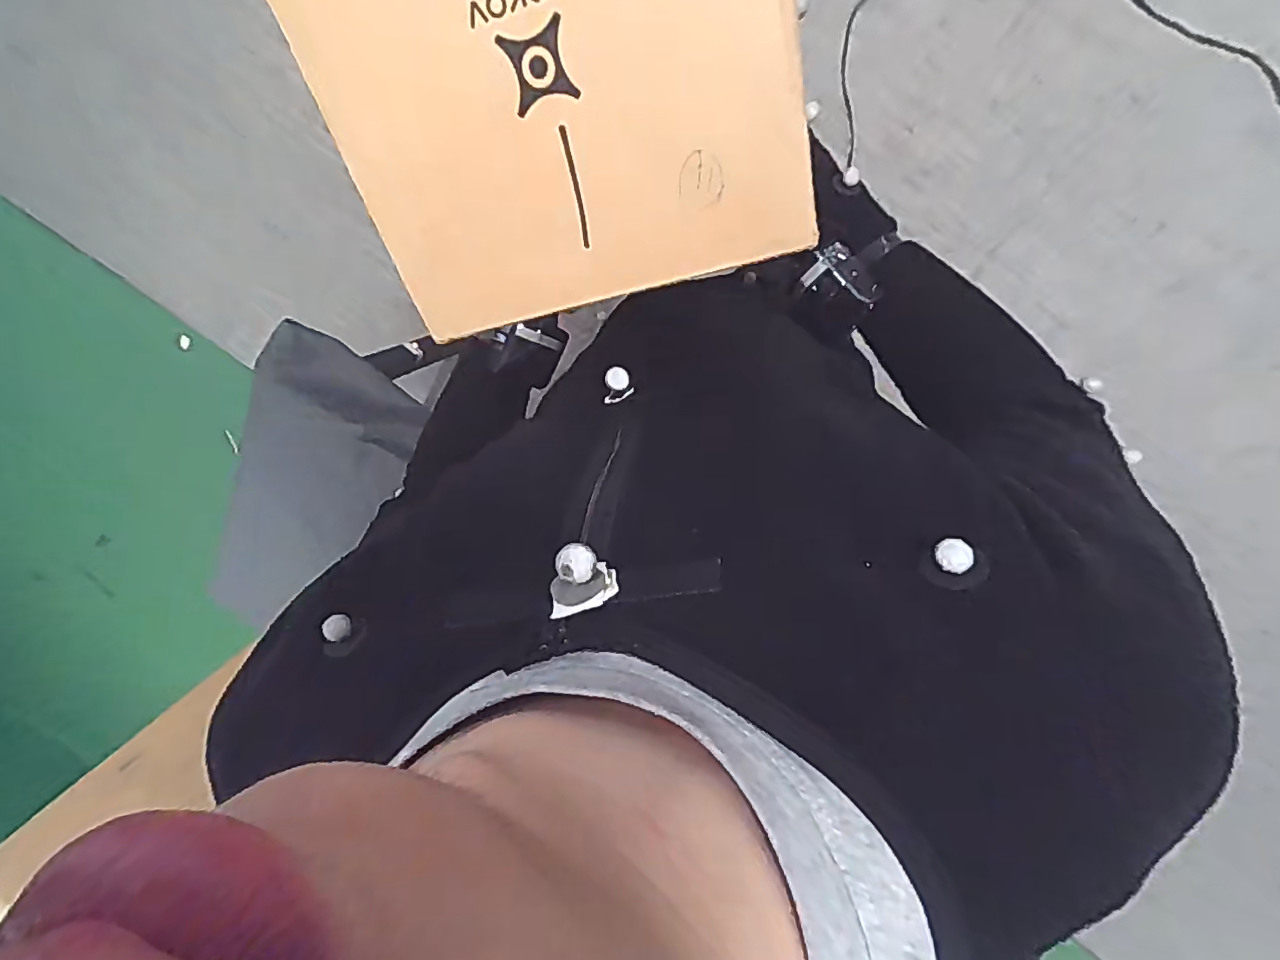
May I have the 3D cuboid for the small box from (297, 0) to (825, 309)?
[{"bbox_3d":[-0.024,-0.200,0.241,0.168,0.176,0.179,-10,122,13],"label":"small box"}]
